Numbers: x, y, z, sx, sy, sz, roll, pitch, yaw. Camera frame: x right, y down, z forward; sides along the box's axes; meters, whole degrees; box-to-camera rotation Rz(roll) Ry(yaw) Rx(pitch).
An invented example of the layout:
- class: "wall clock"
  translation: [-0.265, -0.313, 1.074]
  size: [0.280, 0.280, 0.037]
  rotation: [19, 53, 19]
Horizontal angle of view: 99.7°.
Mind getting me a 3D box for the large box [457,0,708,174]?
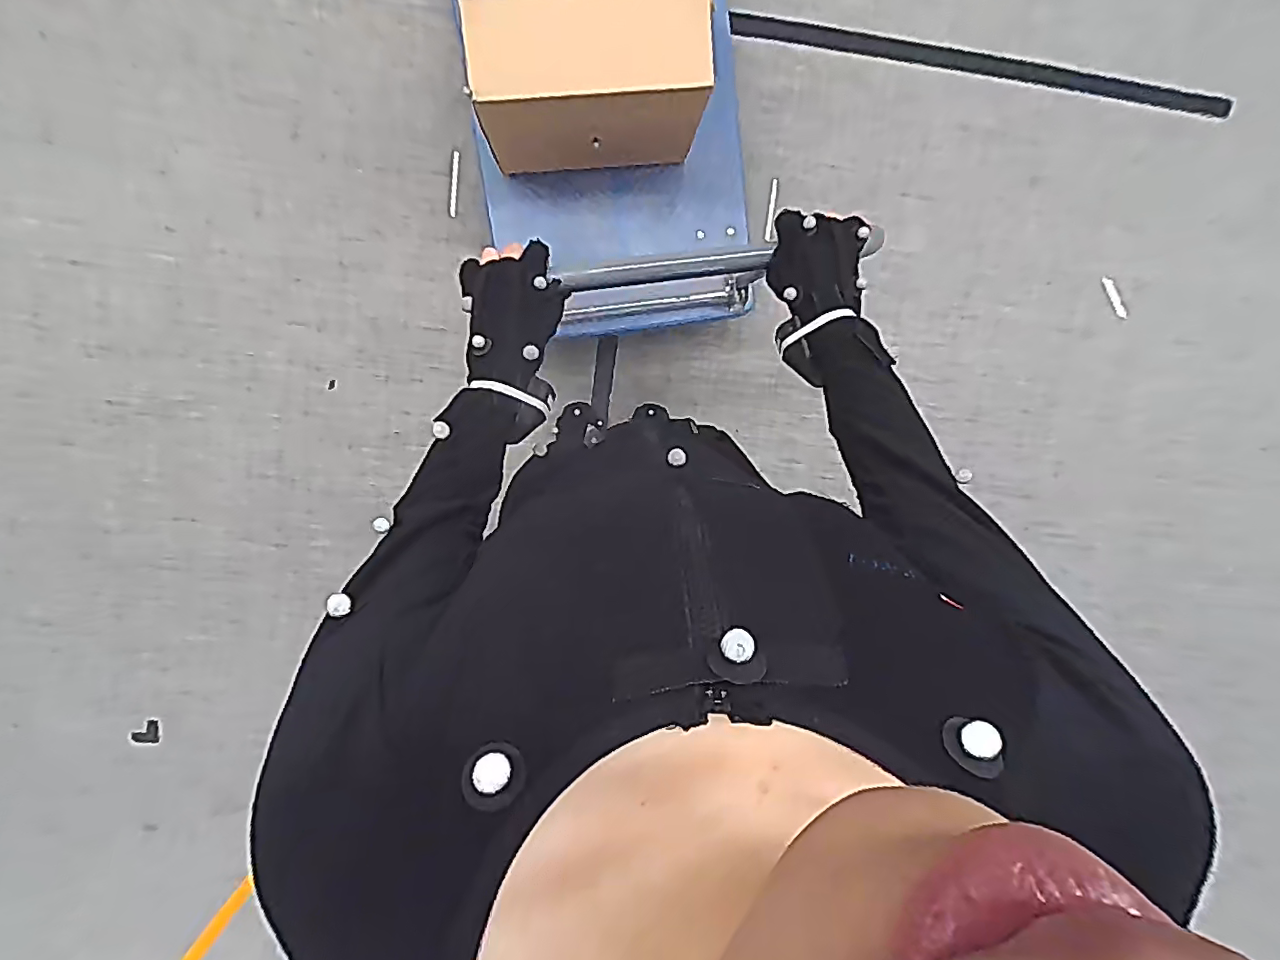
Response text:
- class: "large box"
  translation: [-0.105, -0.814, 1.026]
  size: [0.408, 0.320, 0.320]
  rotation: [-6, 100, -3]
